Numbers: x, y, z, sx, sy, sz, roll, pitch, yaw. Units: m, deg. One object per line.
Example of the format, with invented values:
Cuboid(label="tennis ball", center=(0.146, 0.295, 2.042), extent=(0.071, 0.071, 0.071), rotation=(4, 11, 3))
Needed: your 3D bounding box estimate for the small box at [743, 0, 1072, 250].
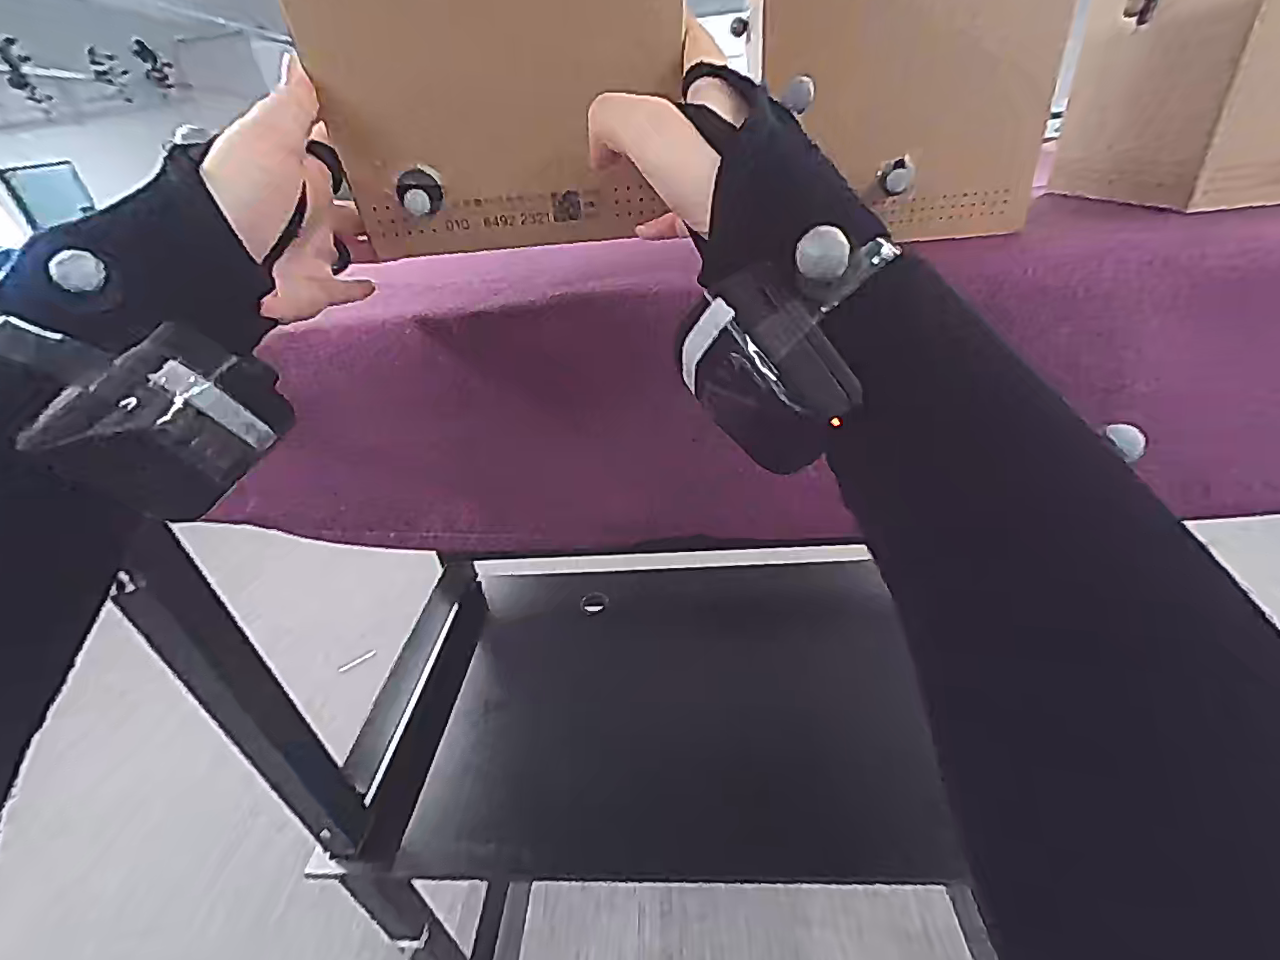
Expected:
Cuboid(label="small box", center=(0.169, -0.275, 0.396), extent=(0.179, 0.176, 0.168), rotation=(-1, 31, 8))

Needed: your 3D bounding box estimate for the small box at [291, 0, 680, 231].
Cuboid(label="small box", center=(-0.071, -0.246, 0.293), extent=(0.168, 0.176, 0.179), rotation=(-6, 43, -4))

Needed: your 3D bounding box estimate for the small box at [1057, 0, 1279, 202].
Cuboid(label="small box", center=(0.437, -0.296, 0.374), extent=(0.168, 0.176, 0.179), rotation=(-3, 31, 8))
